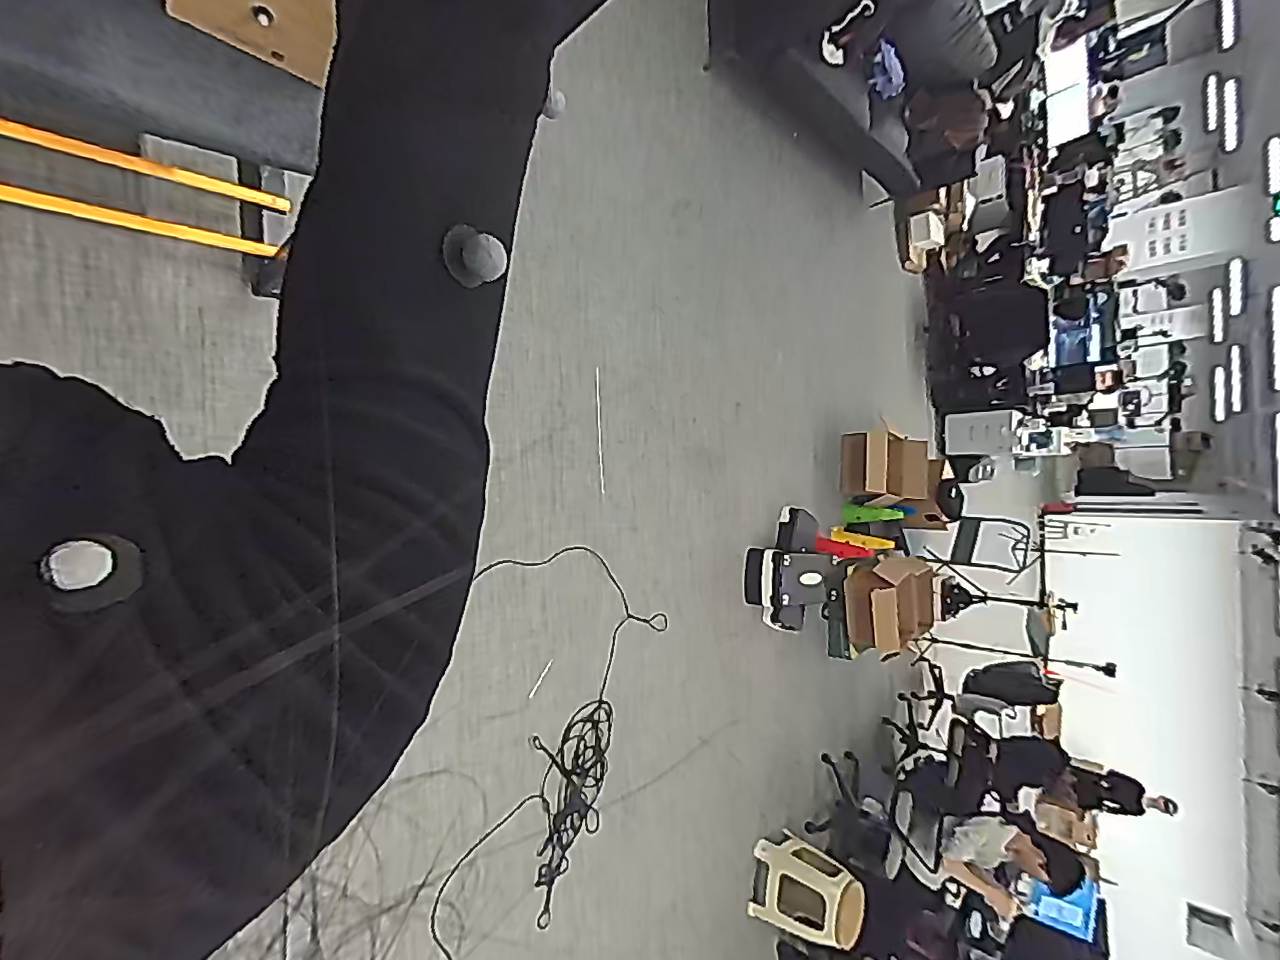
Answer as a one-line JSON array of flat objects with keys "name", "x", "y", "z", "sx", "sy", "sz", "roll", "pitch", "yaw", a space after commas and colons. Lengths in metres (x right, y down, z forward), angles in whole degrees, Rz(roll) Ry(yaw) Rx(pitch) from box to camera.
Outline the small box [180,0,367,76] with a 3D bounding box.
[{"name": "small box", "x": -0.421, "y": -0.616, "z": 0.610, "sx": 0.168, "sy": 0.176, "sz": 0.179, "roll": 2, "pitch": 87, "yaw": -47}]
